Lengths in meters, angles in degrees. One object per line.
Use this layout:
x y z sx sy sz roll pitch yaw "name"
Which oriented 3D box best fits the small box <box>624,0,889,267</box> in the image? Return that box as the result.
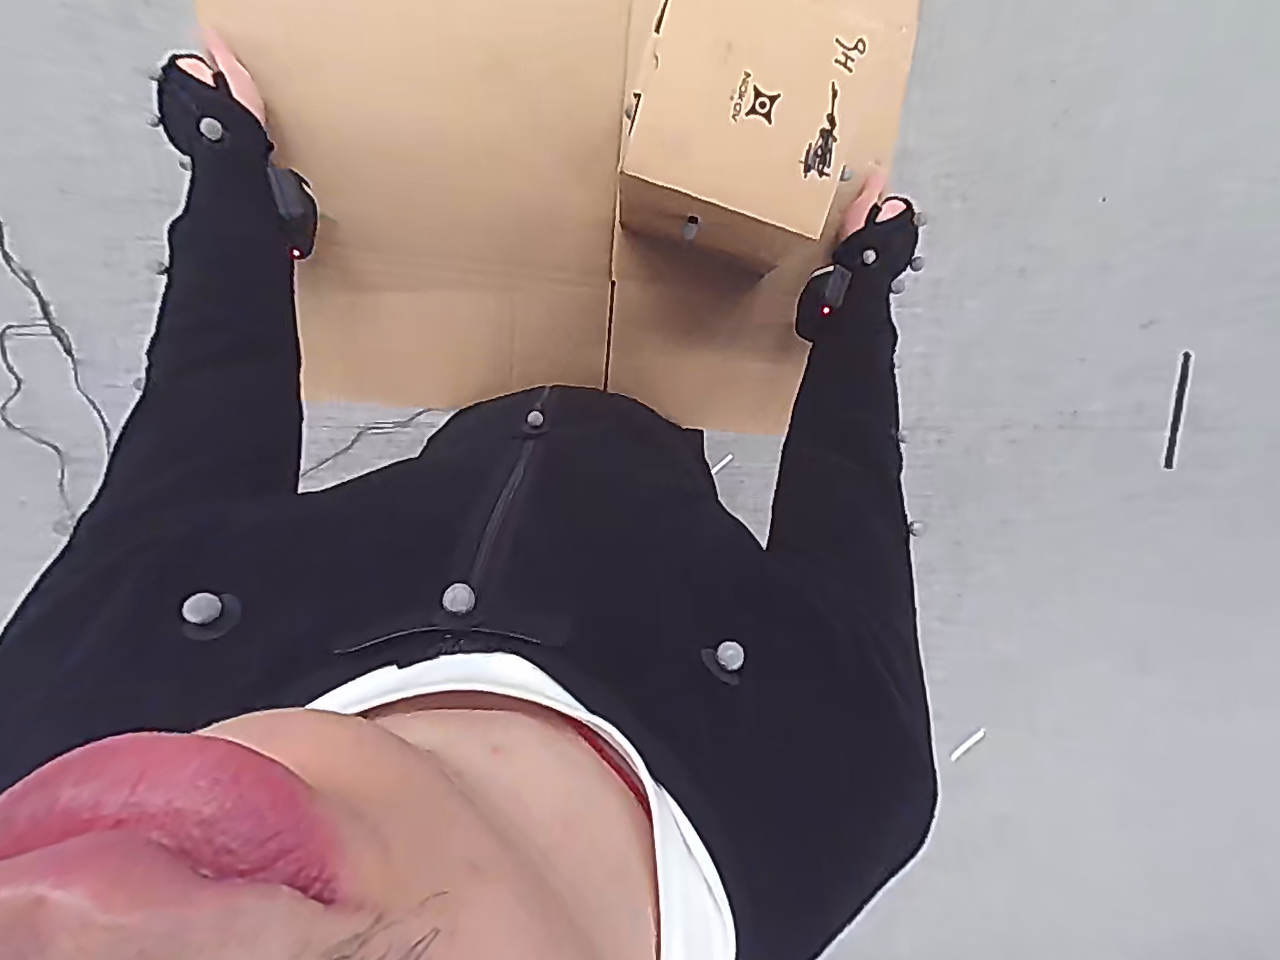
0.091 -0.321 0.515 0.179 0.176 0.168 17 100 -4 "small box"
